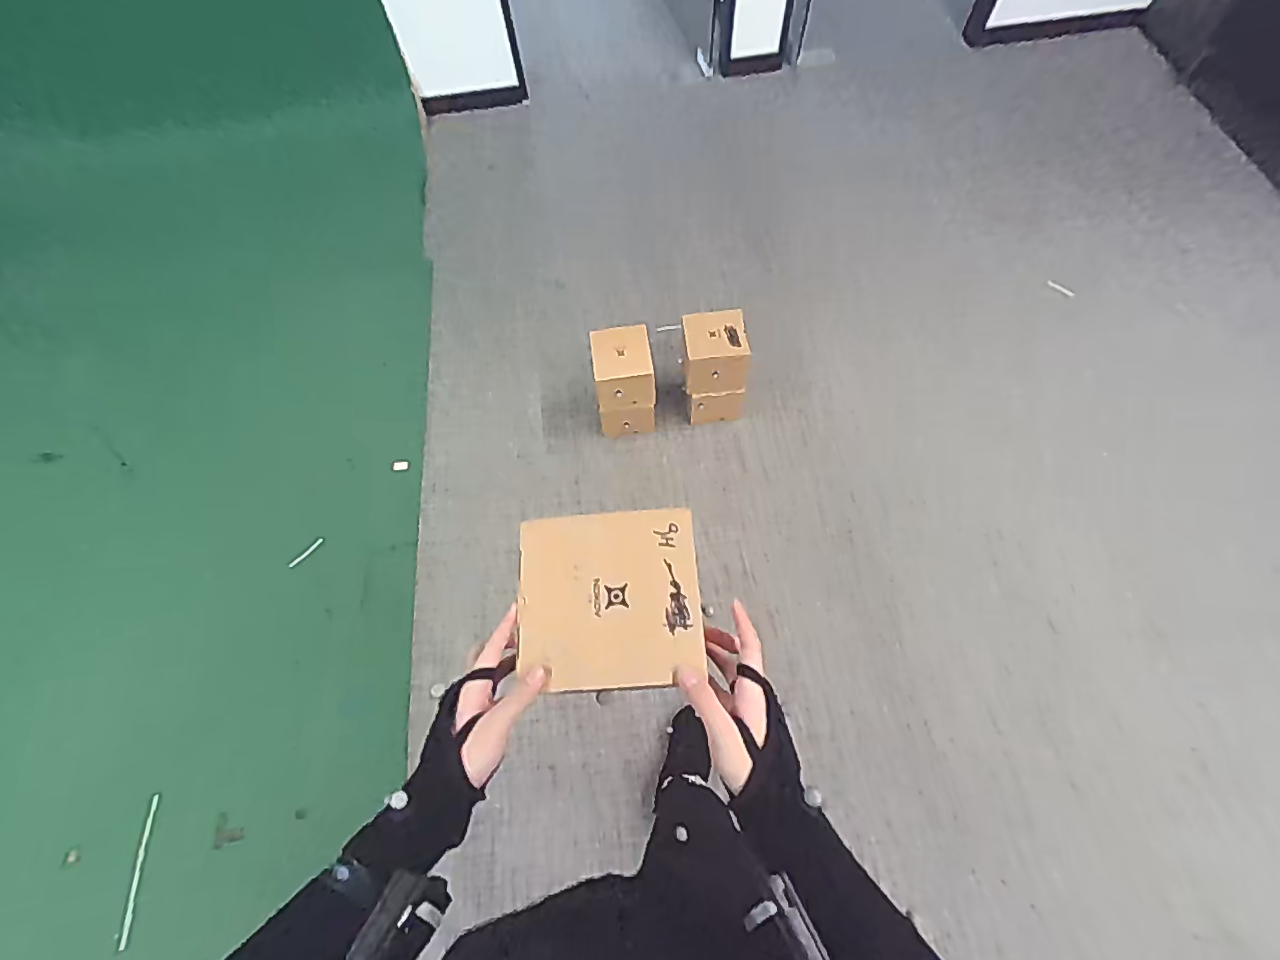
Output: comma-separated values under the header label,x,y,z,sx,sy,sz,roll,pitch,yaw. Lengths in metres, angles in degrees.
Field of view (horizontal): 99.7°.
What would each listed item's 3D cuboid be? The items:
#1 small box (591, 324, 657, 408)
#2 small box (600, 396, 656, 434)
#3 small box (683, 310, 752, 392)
label,x,y,z,sx,sy,sz,roll,pitch,yaw
small box,-0.045,-0.325,1.588,0.168,0.176,0.179,-9,65,-1
small box,-0.038,-0.258,1.735,0.168,0.176,0.179,-6,65,0
small box,0.221,-0.376,1.595,0.179,0.176,0.168,-6,64,1
